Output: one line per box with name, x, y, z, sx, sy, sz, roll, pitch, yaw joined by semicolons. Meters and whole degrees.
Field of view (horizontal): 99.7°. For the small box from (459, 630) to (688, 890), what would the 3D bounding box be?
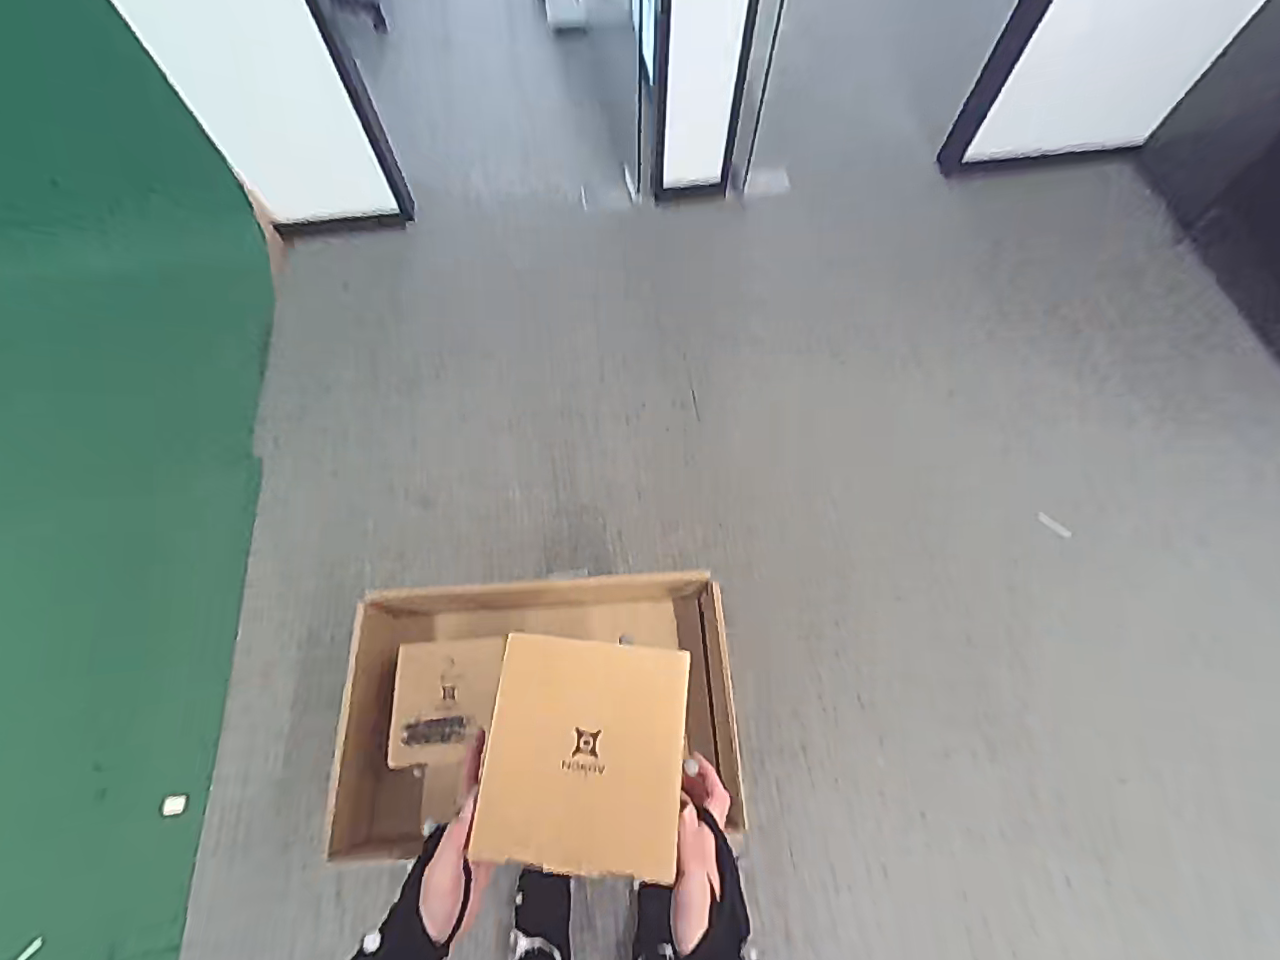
small box;-0.049;0.245;0.510;0.168;0.176;0.179;5;71;2
